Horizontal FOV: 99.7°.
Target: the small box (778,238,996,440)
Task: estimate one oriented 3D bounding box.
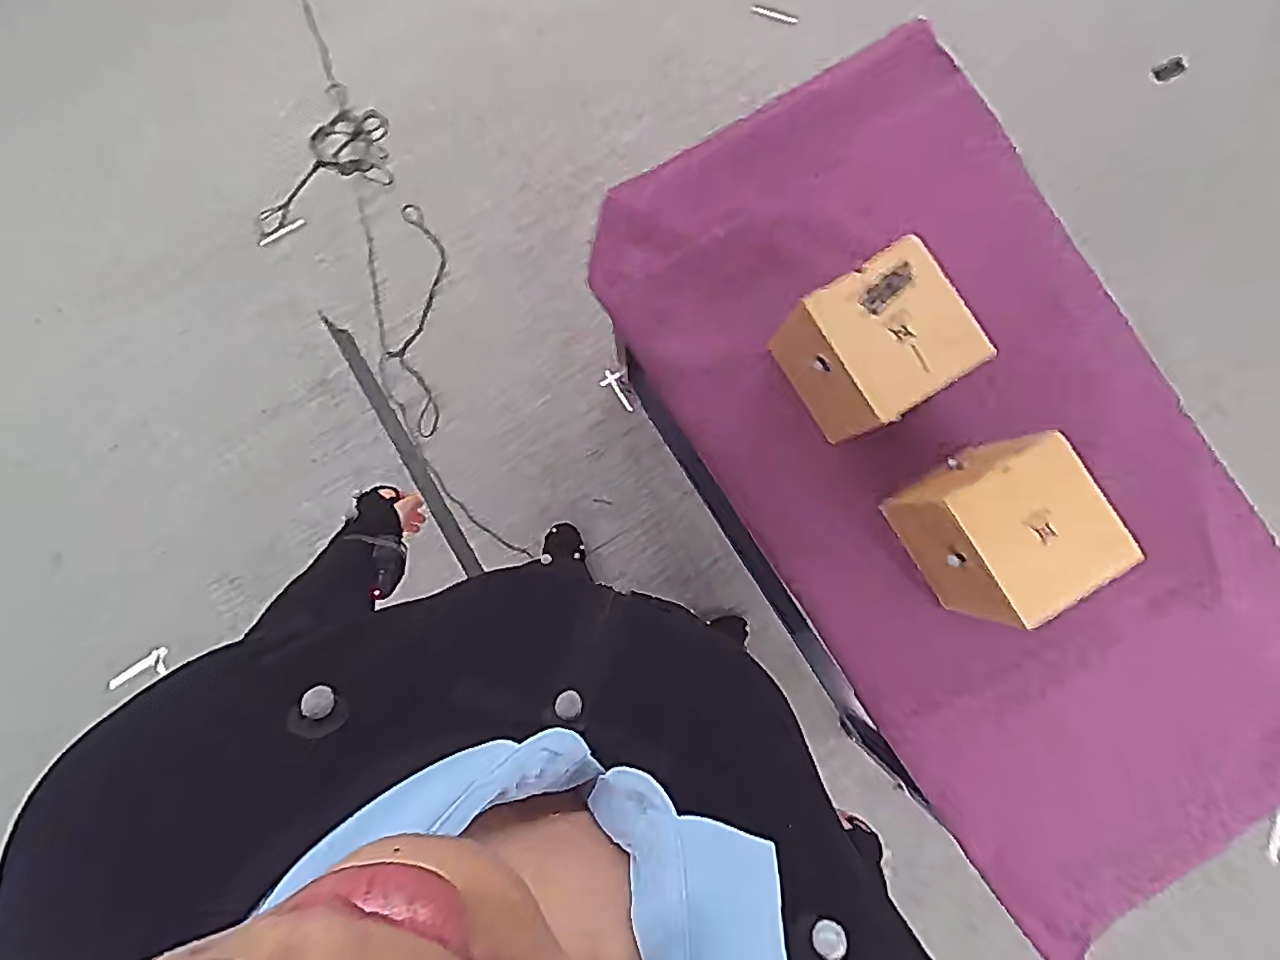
[{"bbox_3d":[0.310,-0.174,0.723,0.168,0.176,0.179,-31,87,-3],"label":"small box"}]

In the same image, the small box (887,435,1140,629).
[{"bbox_3d":[0.466,0.065,0.706,0.168,0.176,0.179,-31,85,-3],"label":"small box"}]
